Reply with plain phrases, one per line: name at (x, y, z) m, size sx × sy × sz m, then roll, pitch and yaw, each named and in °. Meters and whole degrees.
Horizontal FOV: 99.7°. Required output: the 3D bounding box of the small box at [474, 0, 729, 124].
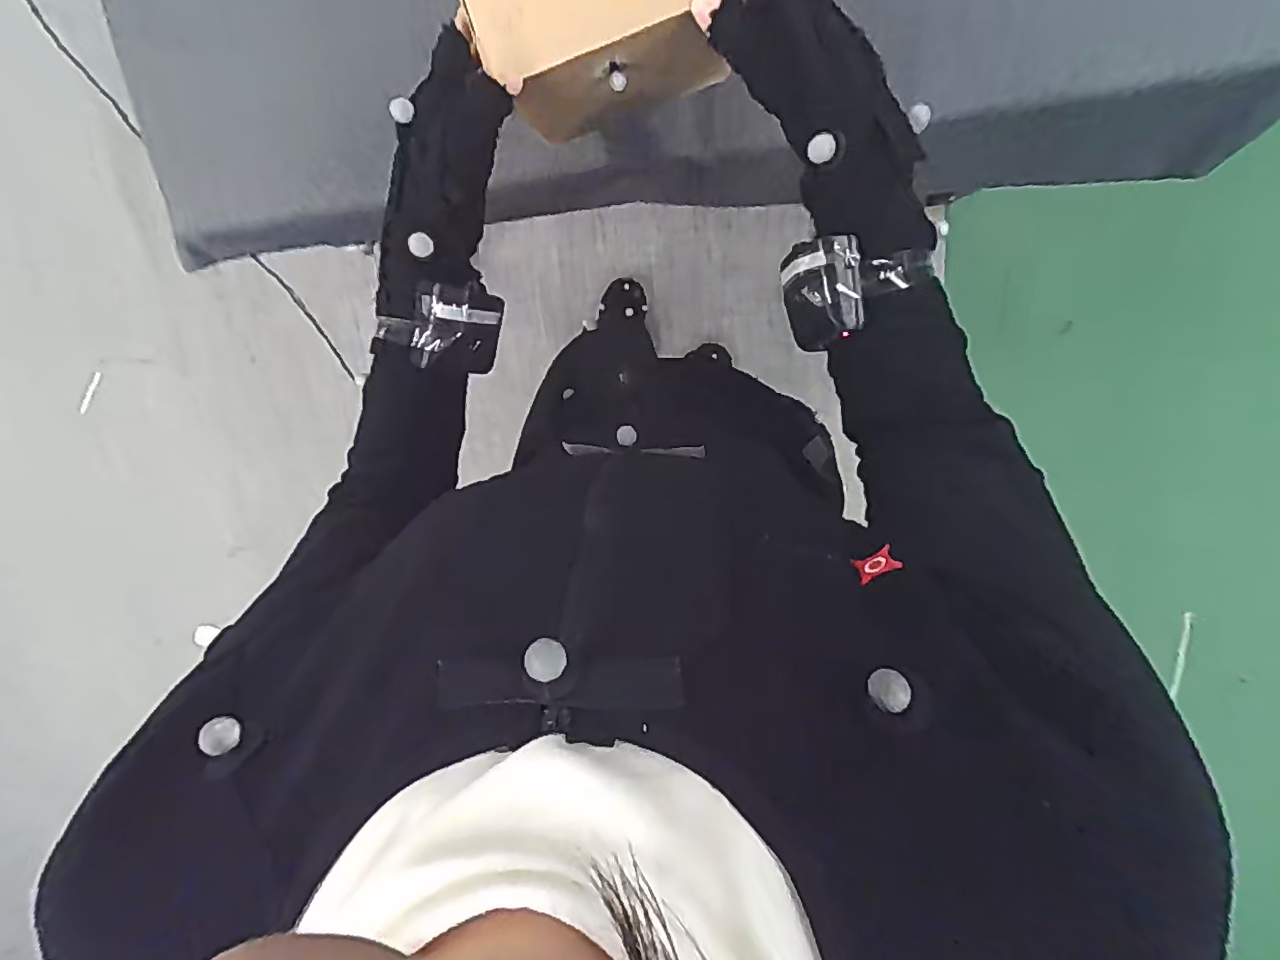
small box at (-0.033, -0.402, 0.406) m, size 0.179 × 0.176 × 0.168 m, roll -15°, pitch 109°, yaw 10°
